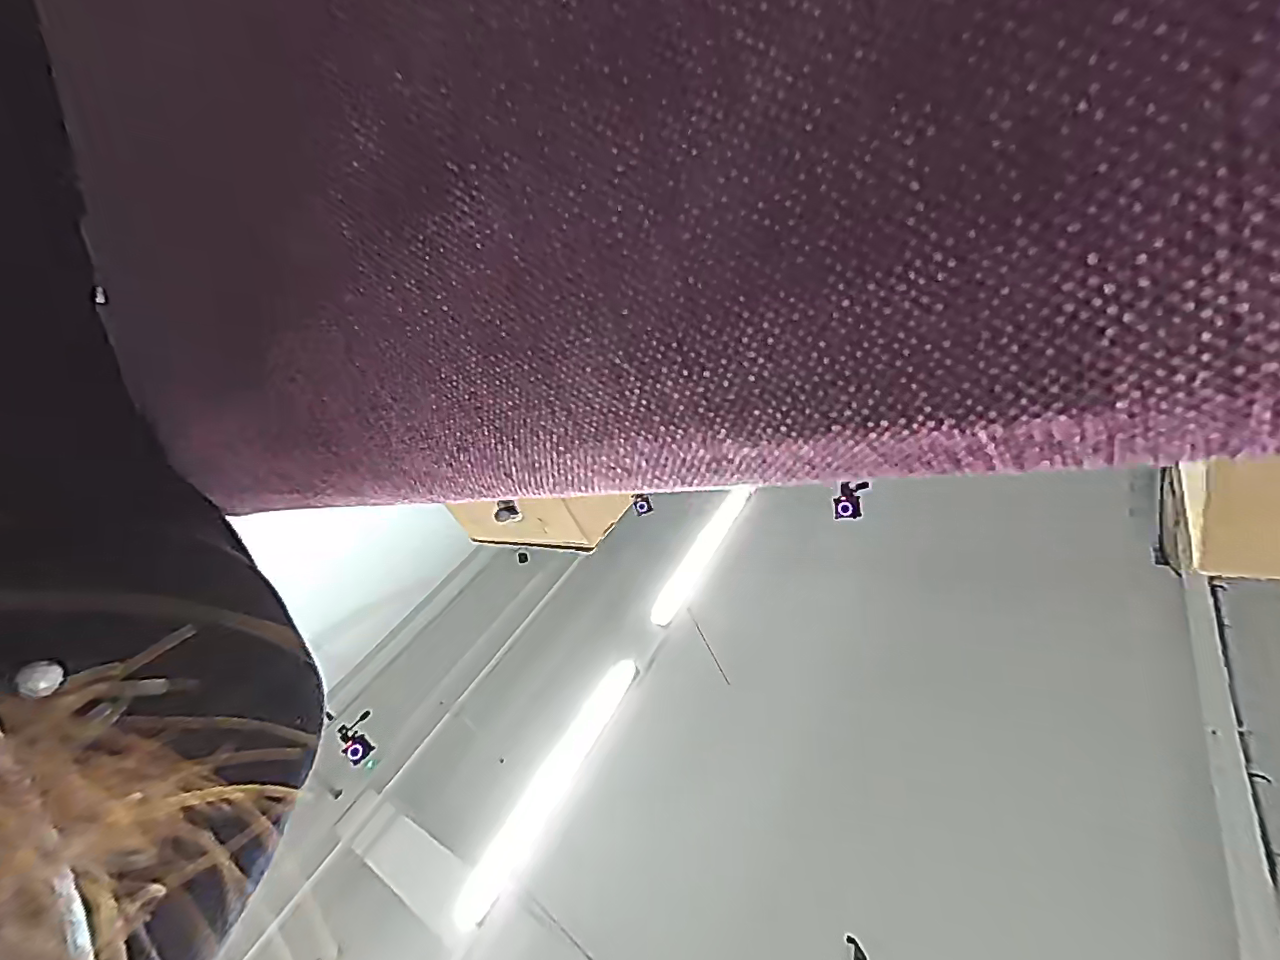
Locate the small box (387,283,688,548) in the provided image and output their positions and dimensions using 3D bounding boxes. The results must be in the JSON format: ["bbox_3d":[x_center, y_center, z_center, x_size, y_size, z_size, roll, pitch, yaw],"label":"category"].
[{"bbox_3d":[-0.091,-0.057,0.492,0.179,0.176,0.168,-2,-144,41],"label":"small box"}]
